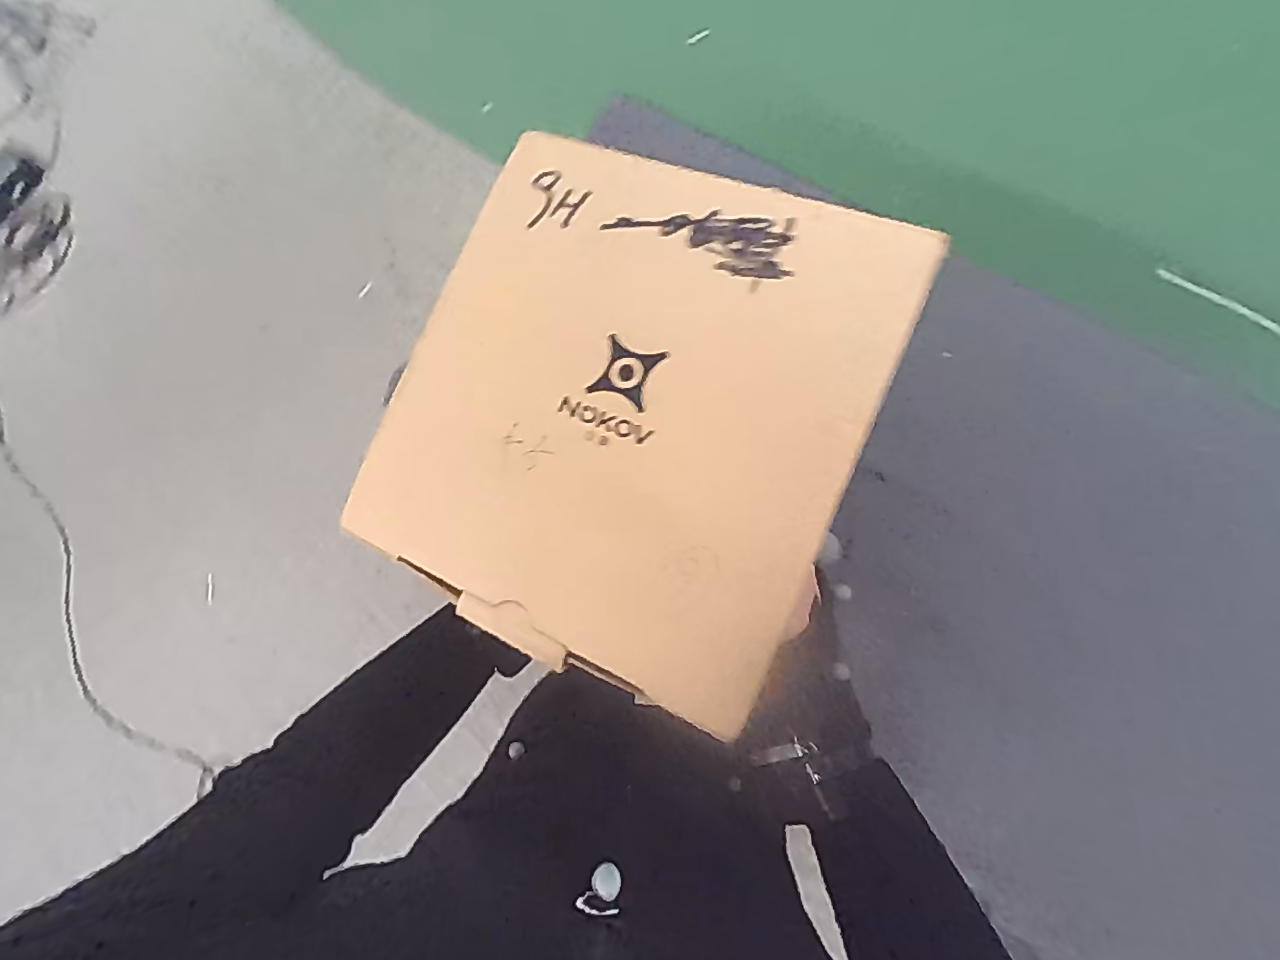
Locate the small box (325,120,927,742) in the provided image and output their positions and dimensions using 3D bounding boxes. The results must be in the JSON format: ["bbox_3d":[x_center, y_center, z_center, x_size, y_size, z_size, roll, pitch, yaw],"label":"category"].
[{"bbox_3d":[0.003,-0.019,0.263,0.168,0.176,0.179,24,89,15],"label":"small box"}]
